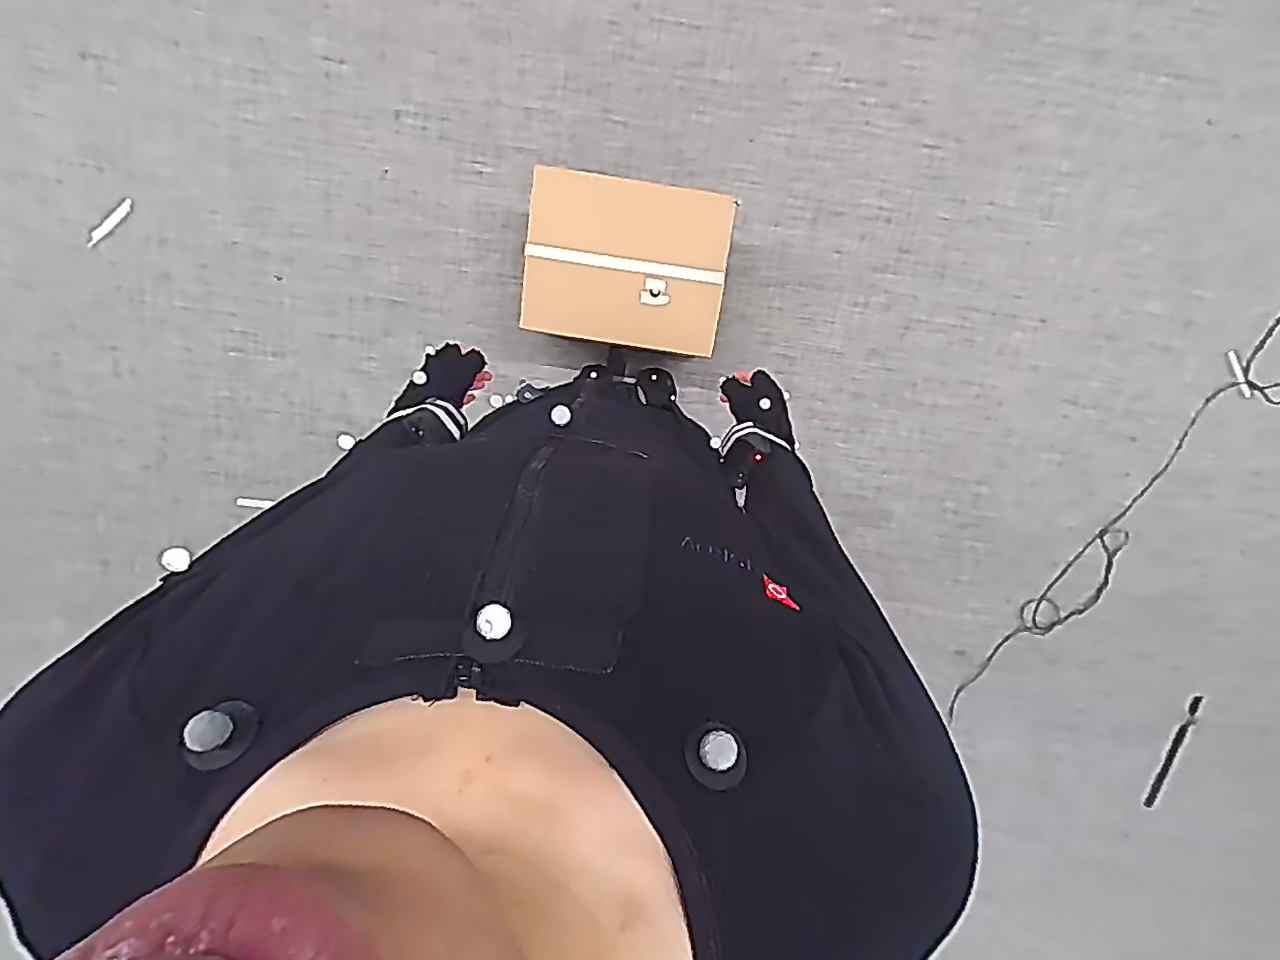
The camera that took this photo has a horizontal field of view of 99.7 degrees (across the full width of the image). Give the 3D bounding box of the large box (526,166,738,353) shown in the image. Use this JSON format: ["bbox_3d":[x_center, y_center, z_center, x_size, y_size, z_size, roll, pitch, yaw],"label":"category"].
[{"bbox_3d":[-0.024,-0.472,1.232,0.408,0.320,0.320,8,104,-2],"label":"large box"}]
